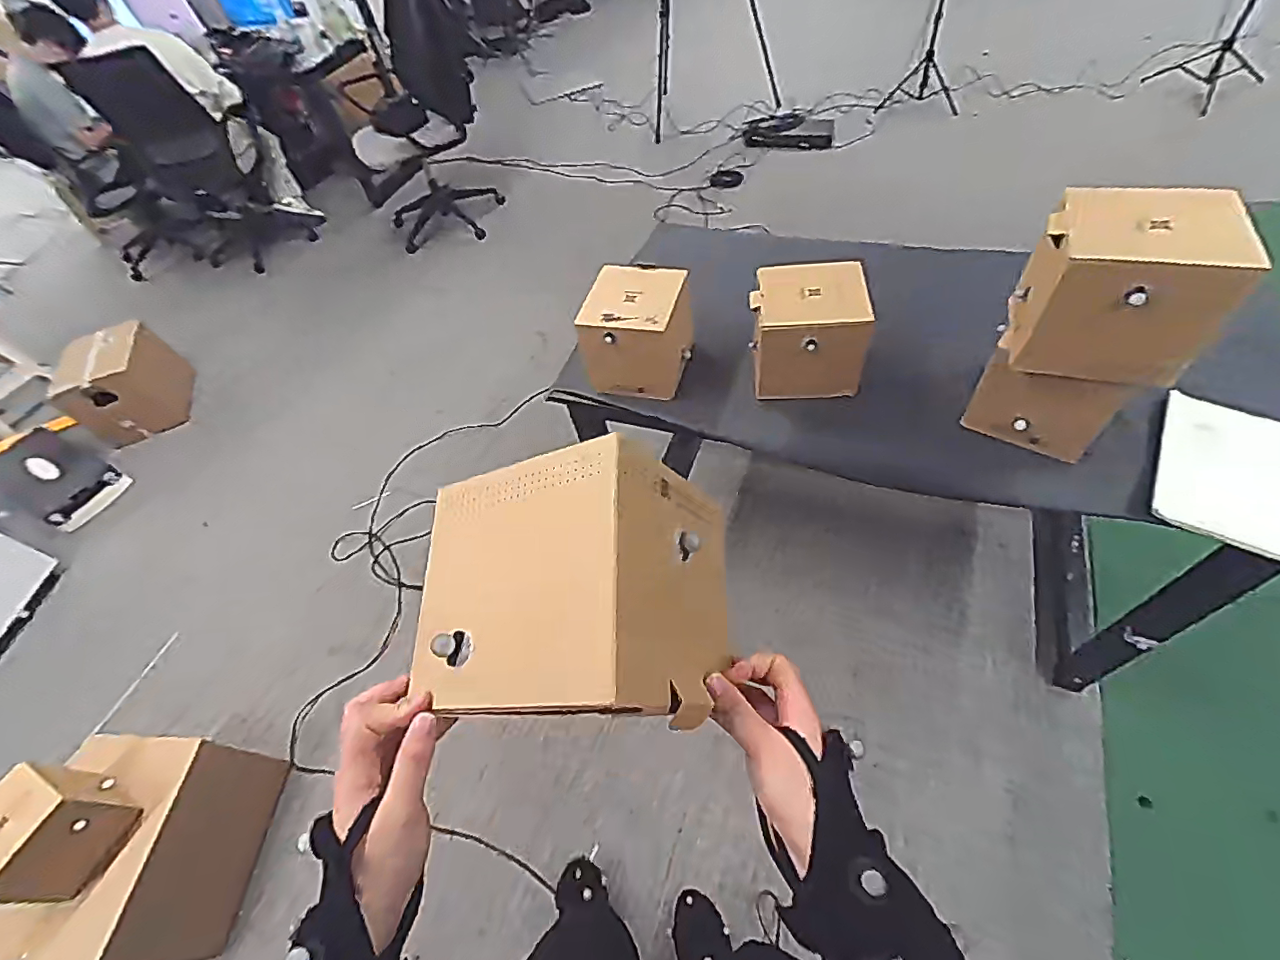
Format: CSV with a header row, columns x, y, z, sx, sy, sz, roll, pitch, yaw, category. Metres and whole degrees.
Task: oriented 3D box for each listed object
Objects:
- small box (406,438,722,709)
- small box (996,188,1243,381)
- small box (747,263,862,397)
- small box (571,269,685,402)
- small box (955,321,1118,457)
x,y,z,sx,sy,sz,roll,pitch,yaw,category
-0.049,0.085,0.426,0.179,0.168,0.176,-14,66,30,small box
0.586,-0.246,0.691,0.179,0.176,0.168,11,56,20,small box
0.284,-0.263,0.971,0.179,0.176,0.168,-1,54,9,small box
-0.013,-0.276,1.035,0.168,0.176,0.179,9,56,16,small box
0.617,-0.169,0.833,0.168,0.176,0.179,27,63,28,small box
